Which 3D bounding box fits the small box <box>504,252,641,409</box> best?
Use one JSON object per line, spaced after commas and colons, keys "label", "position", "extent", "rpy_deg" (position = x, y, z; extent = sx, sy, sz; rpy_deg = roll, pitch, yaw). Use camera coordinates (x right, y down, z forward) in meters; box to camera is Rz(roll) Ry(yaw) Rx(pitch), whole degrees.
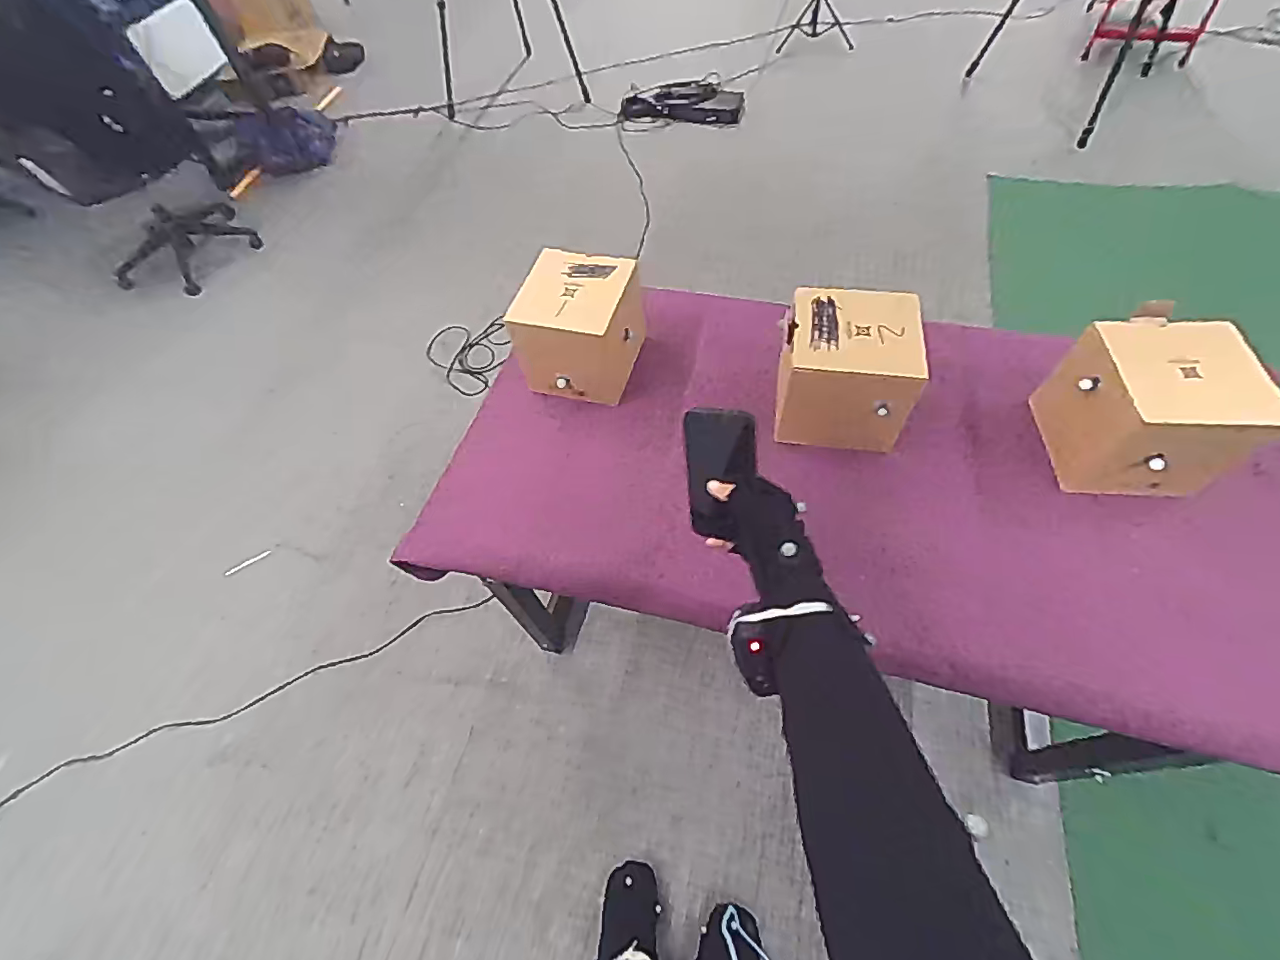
{"label": "small box", "position": [-0.100, -0.248, 0.907], "extent": [0.168, 0.176, 0.179], "rpy_deg": [12, 61, 13]}

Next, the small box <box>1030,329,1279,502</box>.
{"label": "small box", "position": [0.679, -0.083, 0.736], "extent": [0.168, 0.176, 0.179], "rpy_deg": [2, 57, 7]}
